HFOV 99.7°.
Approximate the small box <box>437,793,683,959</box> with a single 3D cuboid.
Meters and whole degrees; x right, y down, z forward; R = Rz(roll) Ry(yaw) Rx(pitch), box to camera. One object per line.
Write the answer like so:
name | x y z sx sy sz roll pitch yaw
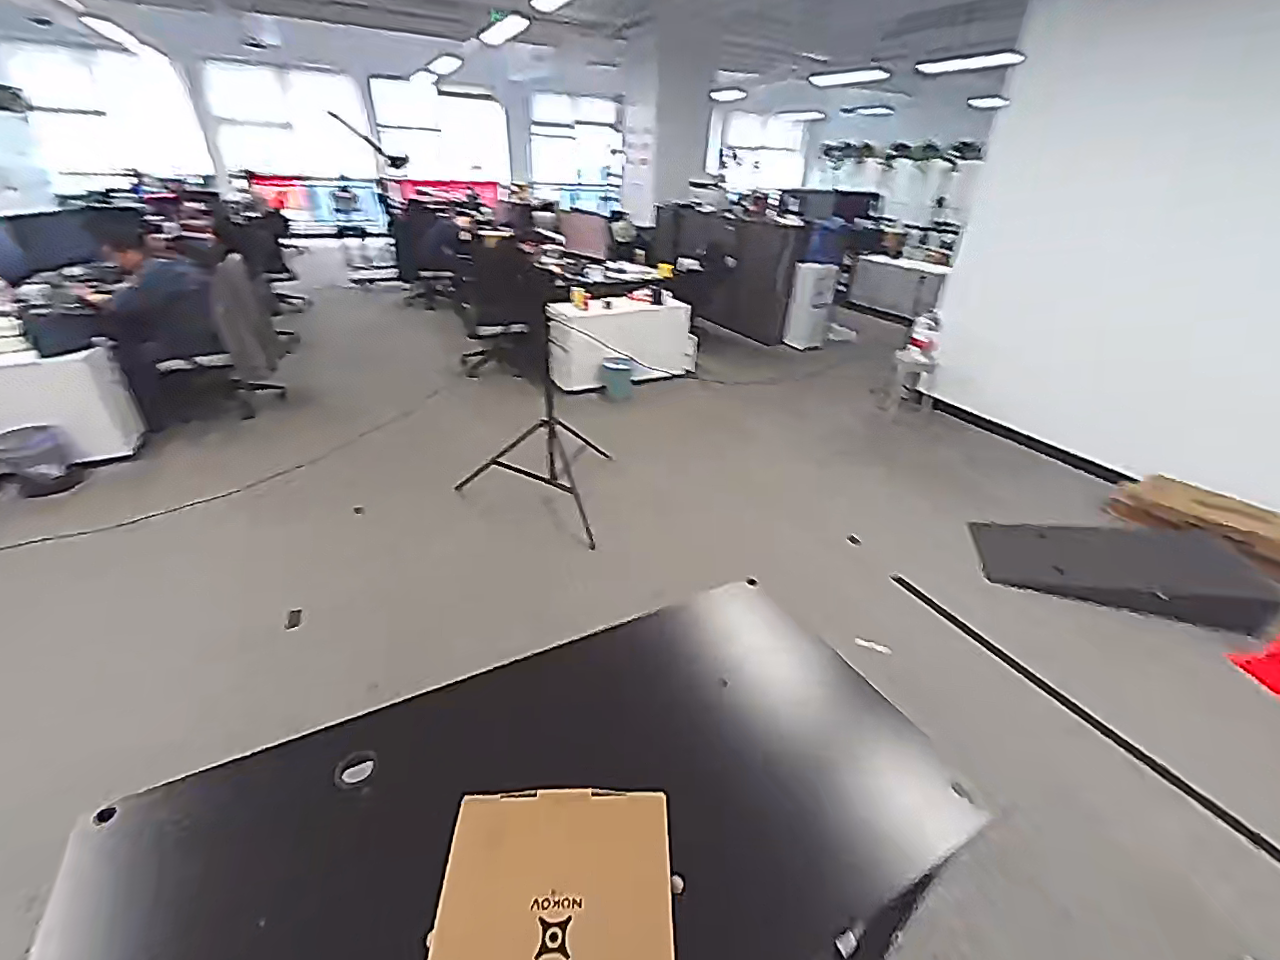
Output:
small box | -0.055 0.371 0.420 0.168 0.176 0.179 0 40 -1
